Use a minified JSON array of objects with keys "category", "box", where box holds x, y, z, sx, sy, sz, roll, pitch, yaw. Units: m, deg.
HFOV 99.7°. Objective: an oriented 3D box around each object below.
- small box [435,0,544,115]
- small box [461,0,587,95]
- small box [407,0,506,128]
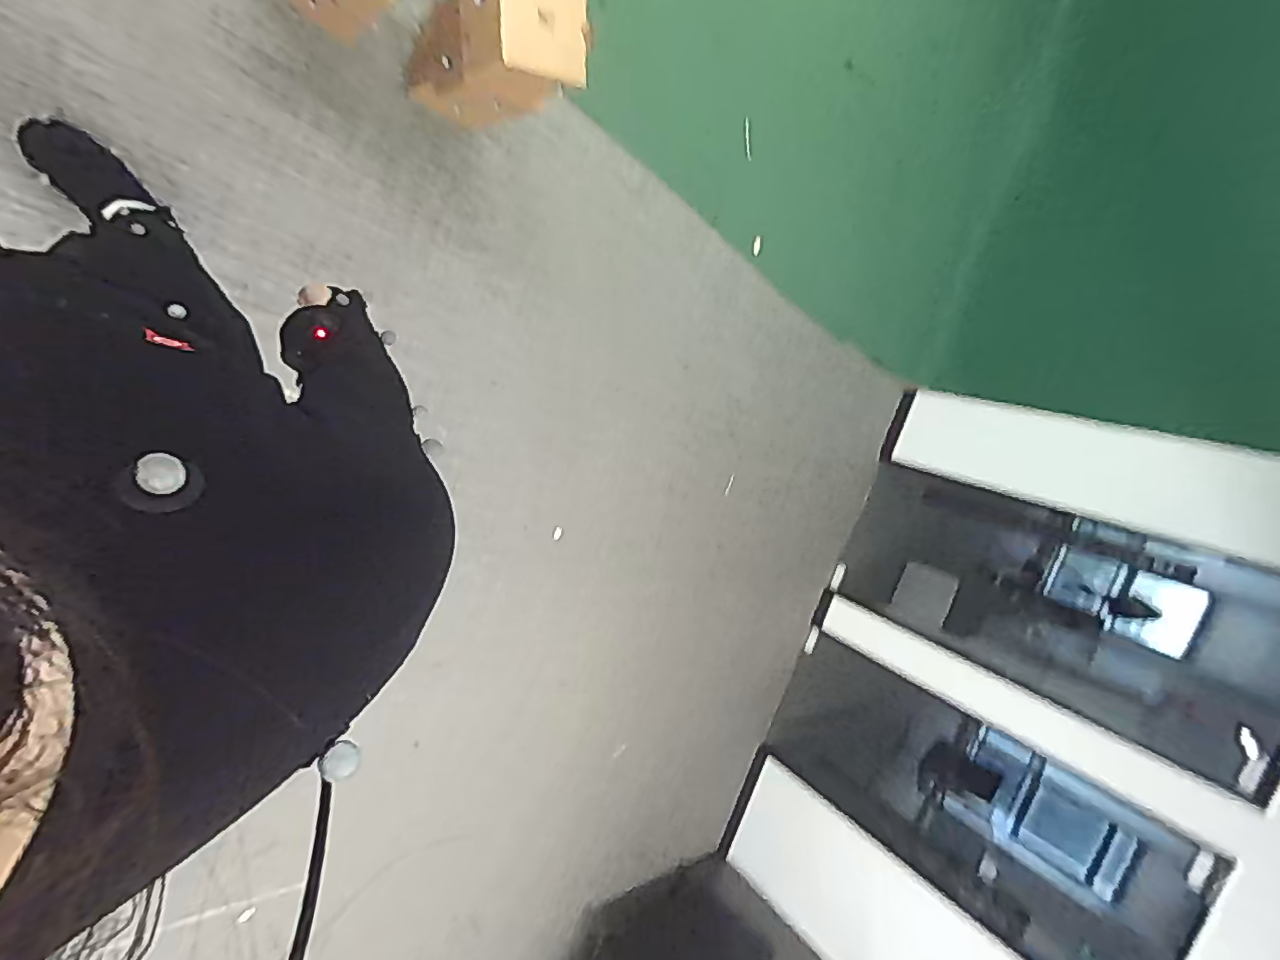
[{"category":"small box","box":[-0.311,-0.874,1.113,0.179,0.176,0.168,-11,118,-40]},{"category":"small box","box":[-0.216,-0.828,0.989,0.179,0.176,0.168,-16,120,-38]},{"category":"small box","box":[-0.407,-0.934,1.230,0.179,0.176,0.168,5,106,-45]}]
